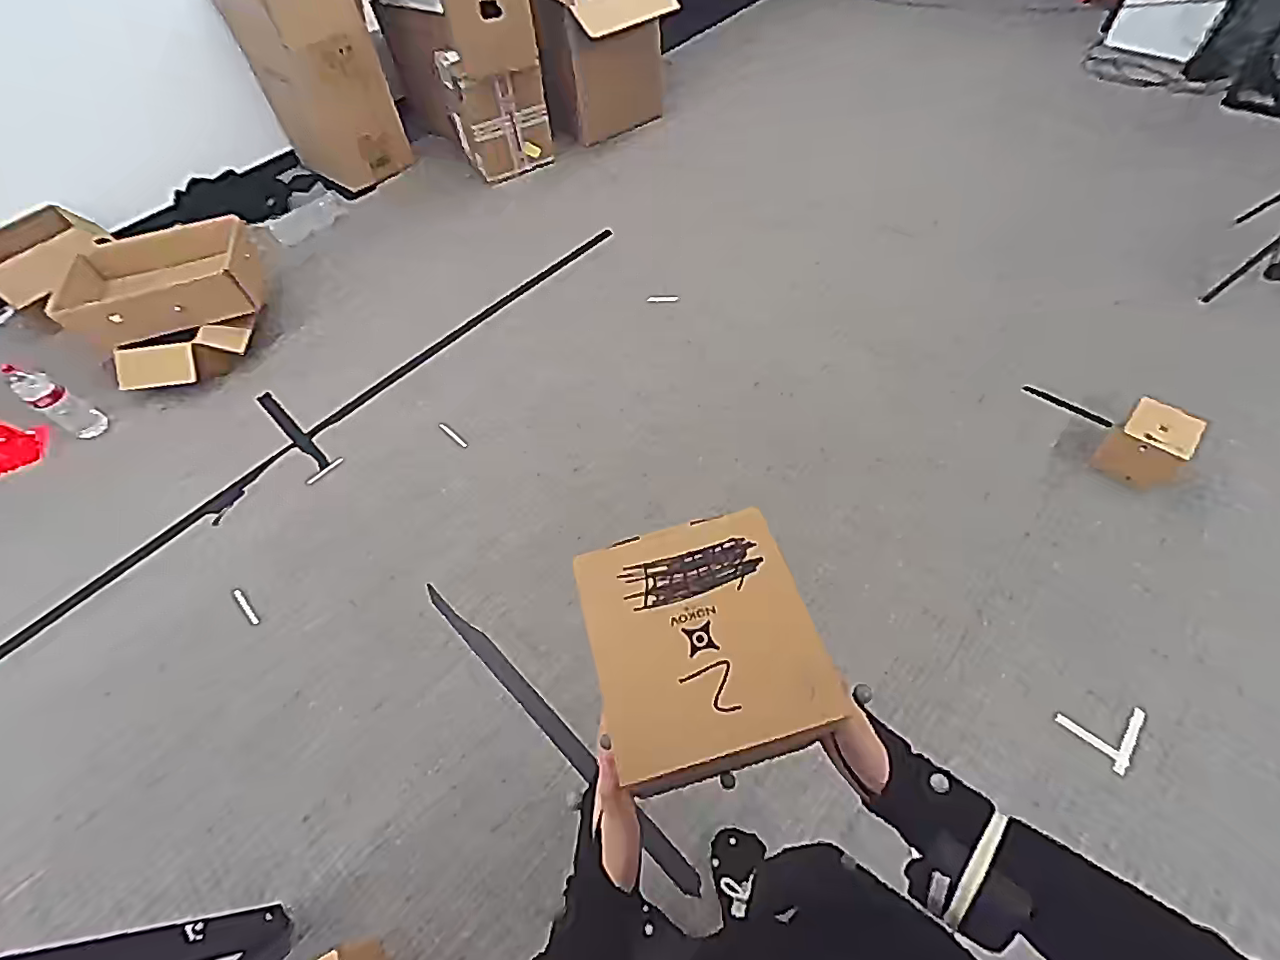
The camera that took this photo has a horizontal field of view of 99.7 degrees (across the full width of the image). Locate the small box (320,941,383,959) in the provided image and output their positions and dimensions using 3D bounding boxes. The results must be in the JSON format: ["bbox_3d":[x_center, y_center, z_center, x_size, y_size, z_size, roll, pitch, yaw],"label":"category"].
[{"bbox_3d":[-0.596,1.032,1.037,0.168,0.176,0.179,-27,60,-14],"label":"small box"}]

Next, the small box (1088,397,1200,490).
[{"bbox_3d":[1.488,-0.105,1.607,0.168,0.176,0.179,35,65,24],"label":"small box"}]
